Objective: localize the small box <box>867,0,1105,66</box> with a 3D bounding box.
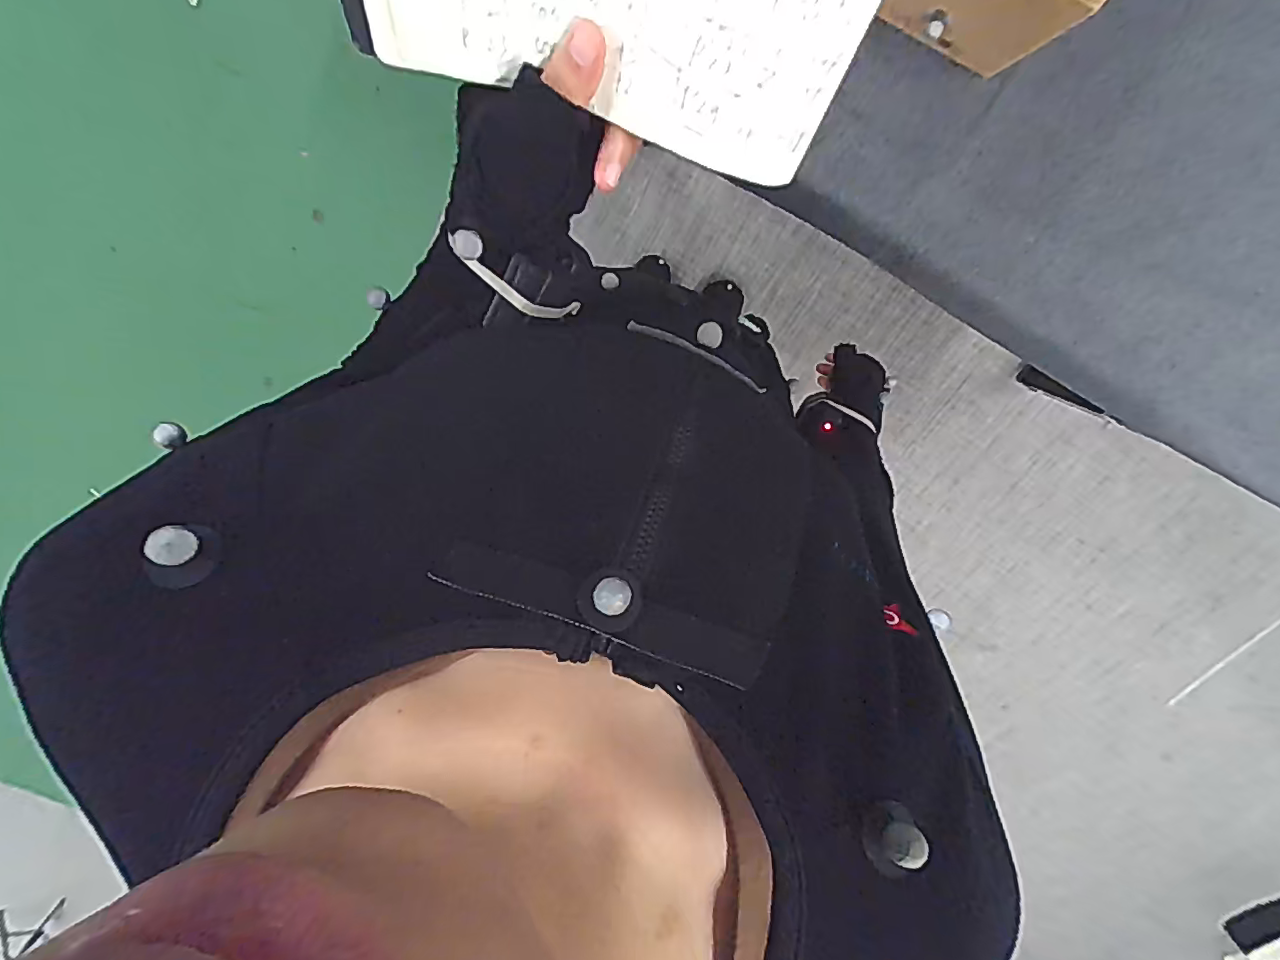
[{"bbox_3d":[0.311,-0.485,0.430,0.168,0.176,0.179,25,113,-4],"label":"small box"}]
